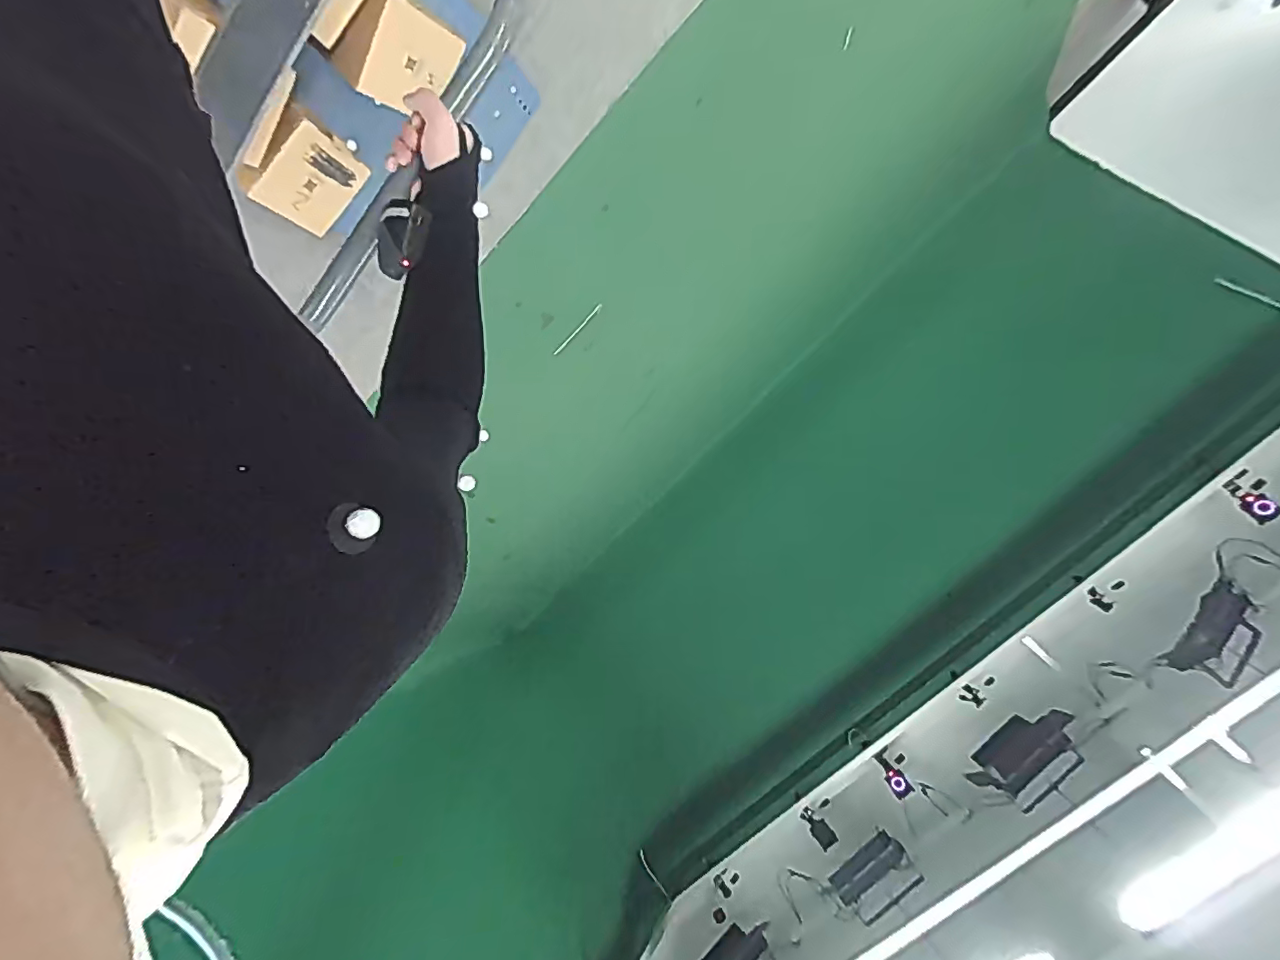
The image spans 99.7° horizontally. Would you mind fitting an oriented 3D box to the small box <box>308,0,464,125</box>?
[{"bbox_3d":[-0.475,-0.818,1.007,0.168,0.176,0.179,-49,168,27],"label":"small box"}]
